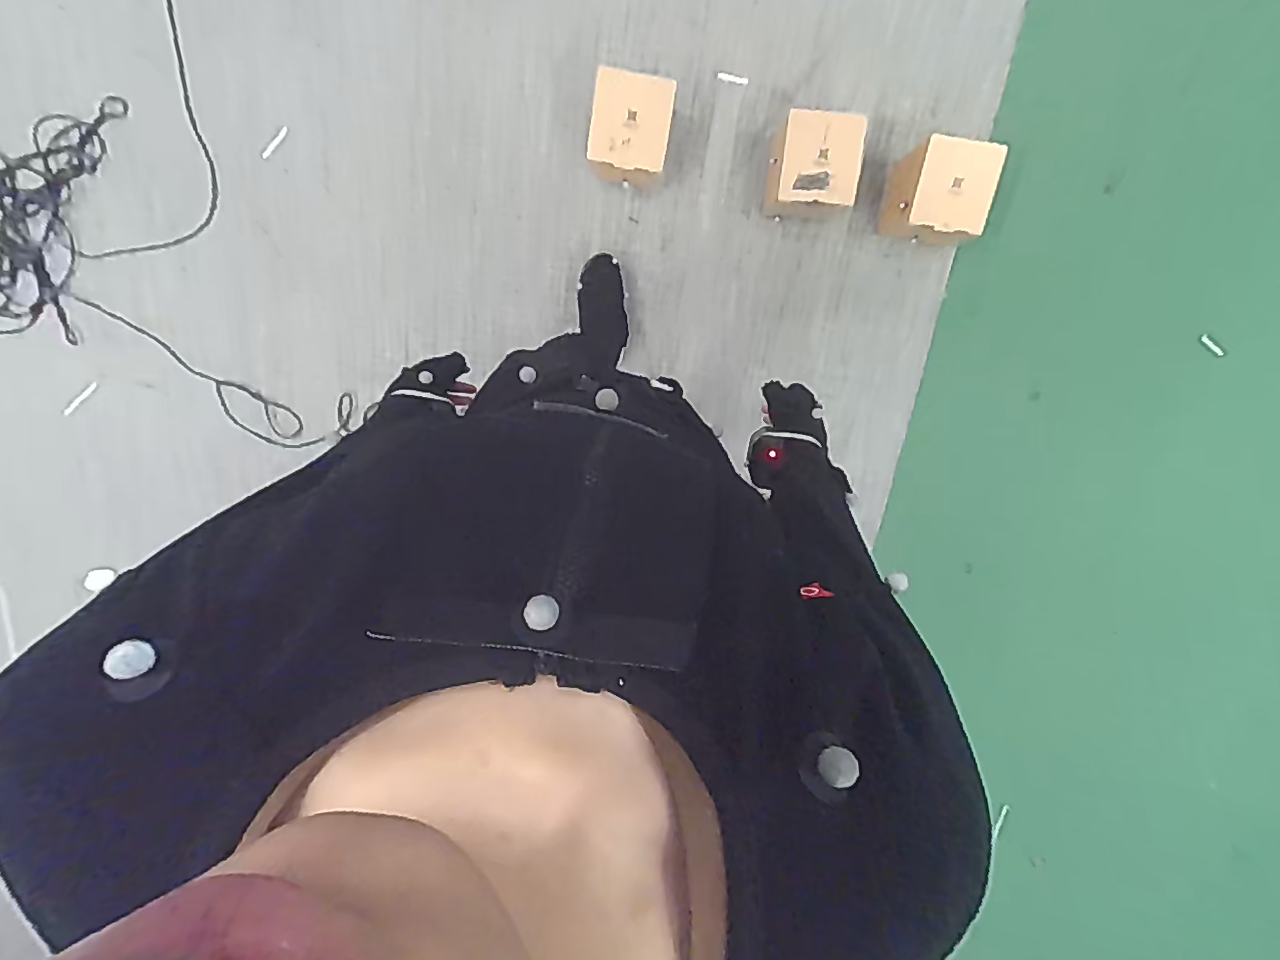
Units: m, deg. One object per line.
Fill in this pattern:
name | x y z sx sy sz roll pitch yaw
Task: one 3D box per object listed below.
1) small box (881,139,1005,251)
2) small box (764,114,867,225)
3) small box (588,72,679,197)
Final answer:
small box | 0.671 -0.633 1.221 0.168 0.176 0.179 9 105 0
small box | 0.383 -0.684 1.212 0.168 0.176 0.179 5 104 0
small box | -0.013 -0.754 1.199 0.168 0.176 0.179 10 105 0
